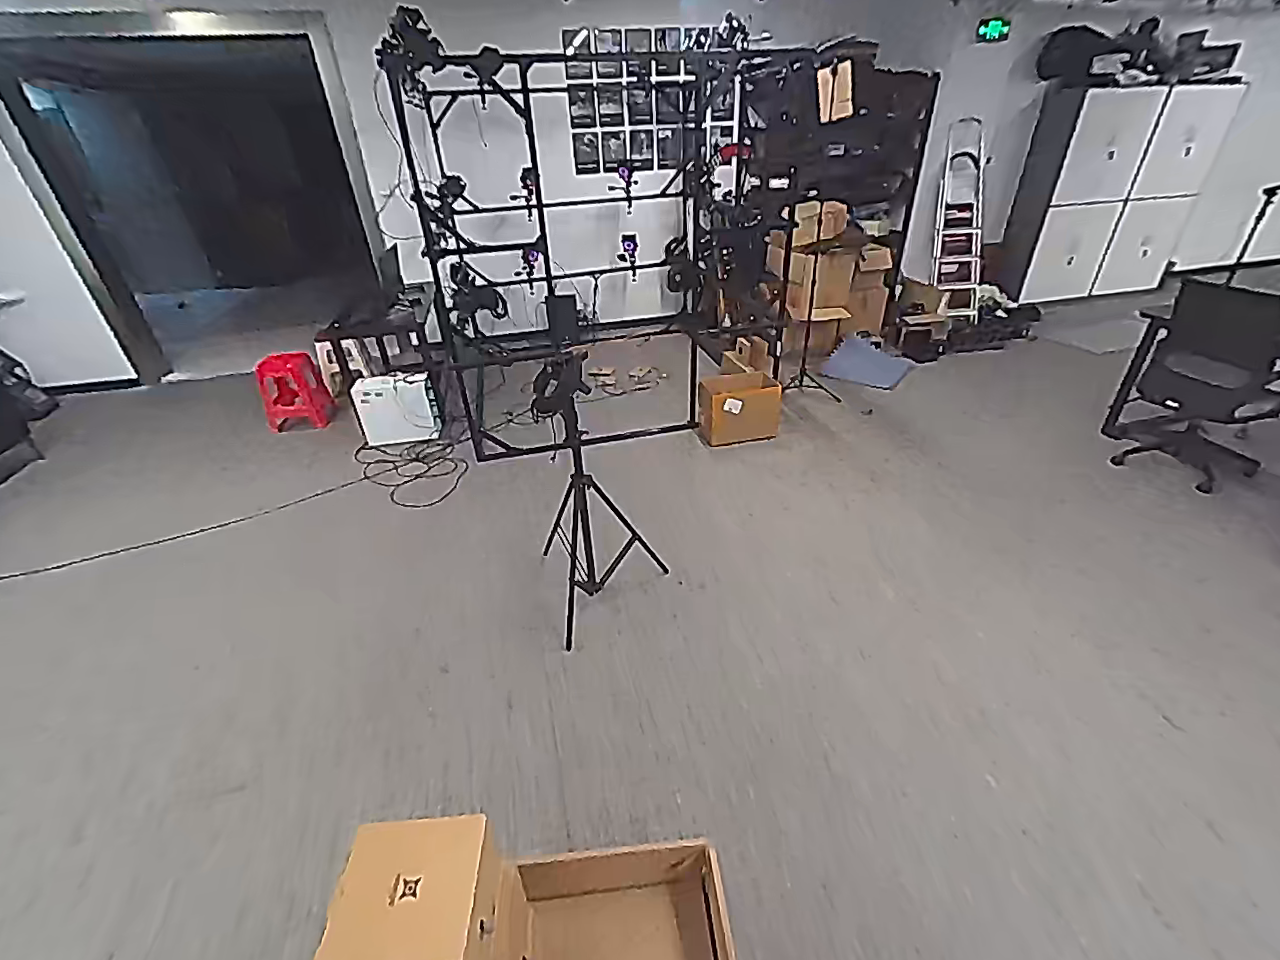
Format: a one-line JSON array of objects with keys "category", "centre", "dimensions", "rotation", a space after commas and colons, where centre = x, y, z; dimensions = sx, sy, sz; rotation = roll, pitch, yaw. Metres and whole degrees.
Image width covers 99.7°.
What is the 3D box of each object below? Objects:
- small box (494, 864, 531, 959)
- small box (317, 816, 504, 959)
[{"category": "small box", "centre": [-0.256, 0.714, 0.798], "dimensions": [0.168, 0.176, 0.179], "rotation": [-5, 31, -5]}, {"category": "small box", "centre": [-0.284, 0.576, 0.712], "dimensions": [0.179, 0.176, 0.168], "rotation": [-4, 31, -3]}]
